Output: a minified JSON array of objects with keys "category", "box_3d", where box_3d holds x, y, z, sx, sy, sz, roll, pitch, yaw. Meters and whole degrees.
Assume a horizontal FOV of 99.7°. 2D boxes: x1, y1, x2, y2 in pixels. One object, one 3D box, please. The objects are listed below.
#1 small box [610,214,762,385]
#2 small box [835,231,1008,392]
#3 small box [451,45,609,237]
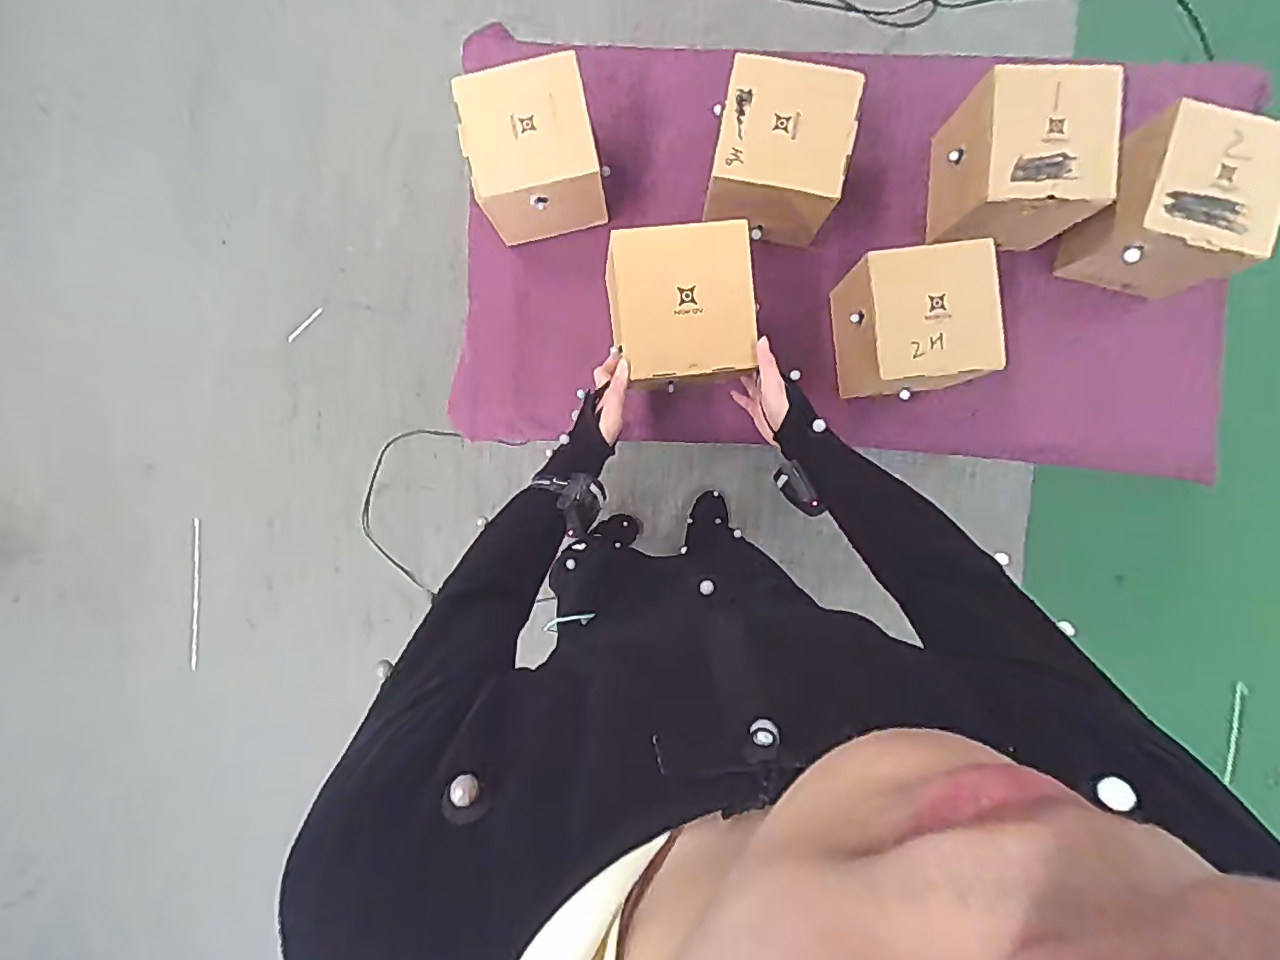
[{"category":"small box","box_3d":[0.052,-0.226,0.714,0.168,0.176,0.179,-7,97,-4]},{"category":"small box","box_3d":[0.396,-0.234,0.790,0.168,0.176,0.179,-5,90,3]},{"category":"small box","box_3d":[-0.152,-0.486,0.804,0.179,0.176,0.168,-12,93,2]}]
